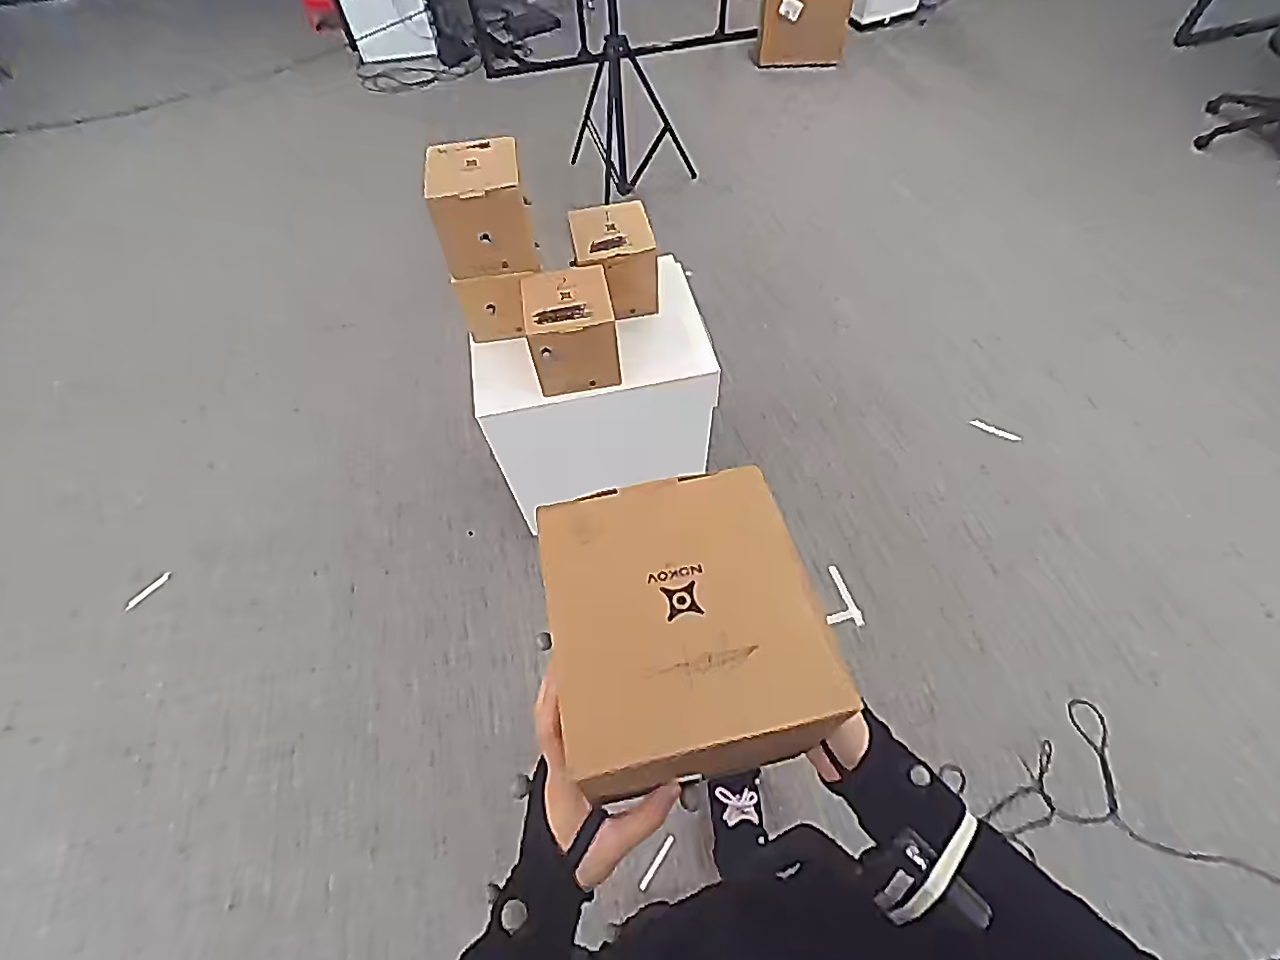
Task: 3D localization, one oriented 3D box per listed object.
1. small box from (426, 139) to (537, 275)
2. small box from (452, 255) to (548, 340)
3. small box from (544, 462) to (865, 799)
[{"bbox_3d":[-0.297,-0.514,1.038,0.168,0.176,0.179,-9,59,-4],"label":"small box"},{"bbox_3d":[-0.297,-0.421,1.174,0.168,0.176,0.179,-8,59,-3],"label":"small box"},{"bbox_3d":[0.030,0.116,0.404,0.168,0.176,0.179,-12,55,-6],"label":"small box"}]
